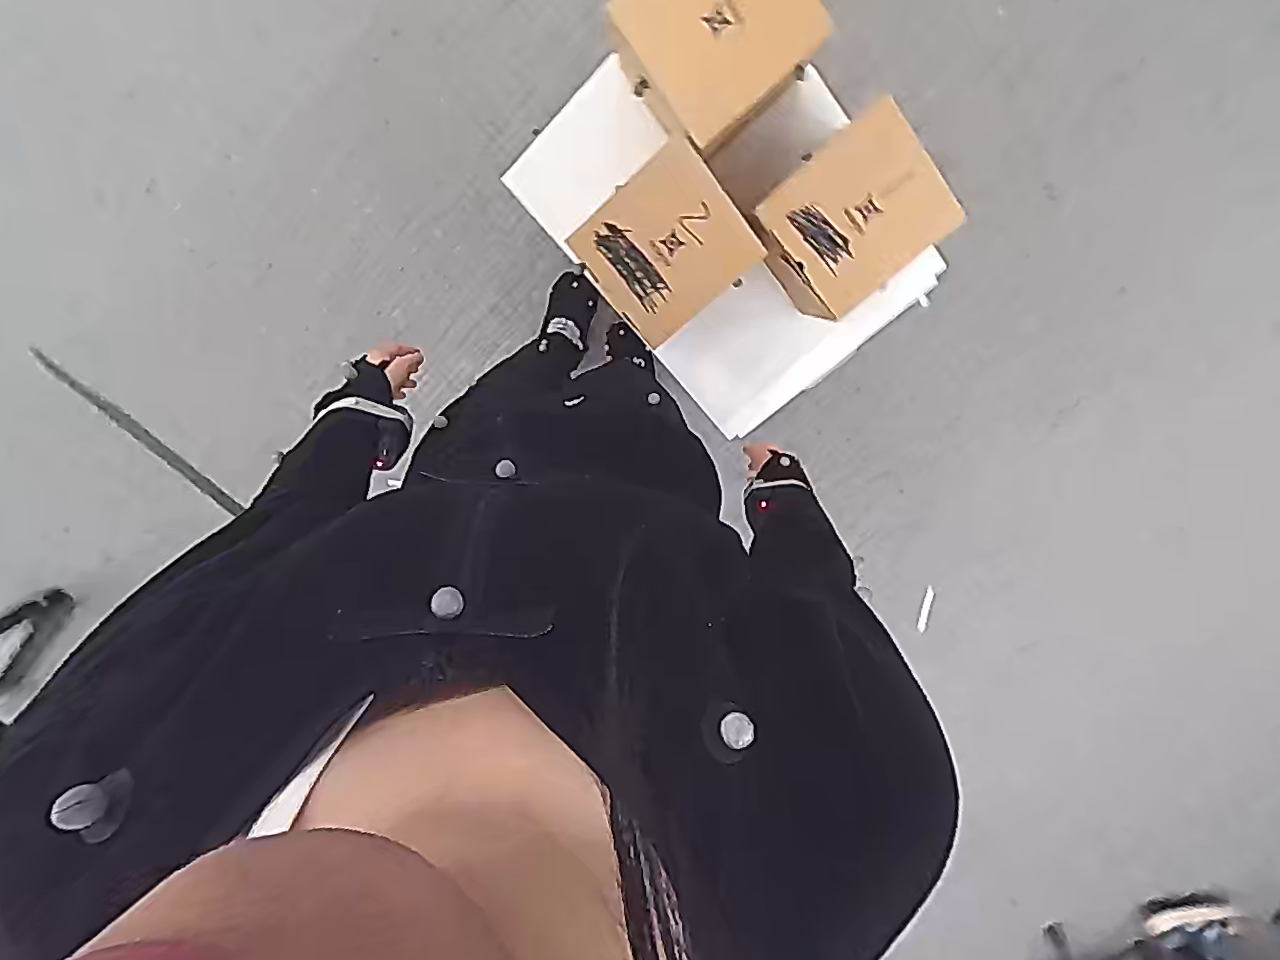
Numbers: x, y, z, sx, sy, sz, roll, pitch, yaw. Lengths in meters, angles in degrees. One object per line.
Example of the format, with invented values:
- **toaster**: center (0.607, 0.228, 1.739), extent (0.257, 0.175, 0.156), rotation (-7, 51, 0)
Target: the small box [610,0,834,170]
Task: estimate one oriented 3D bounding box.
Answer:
- **small box**: center (0.089, -0.499, 0.629), extent (0.179, 0.176, 0.168), rotation (-36, 105, 14)
